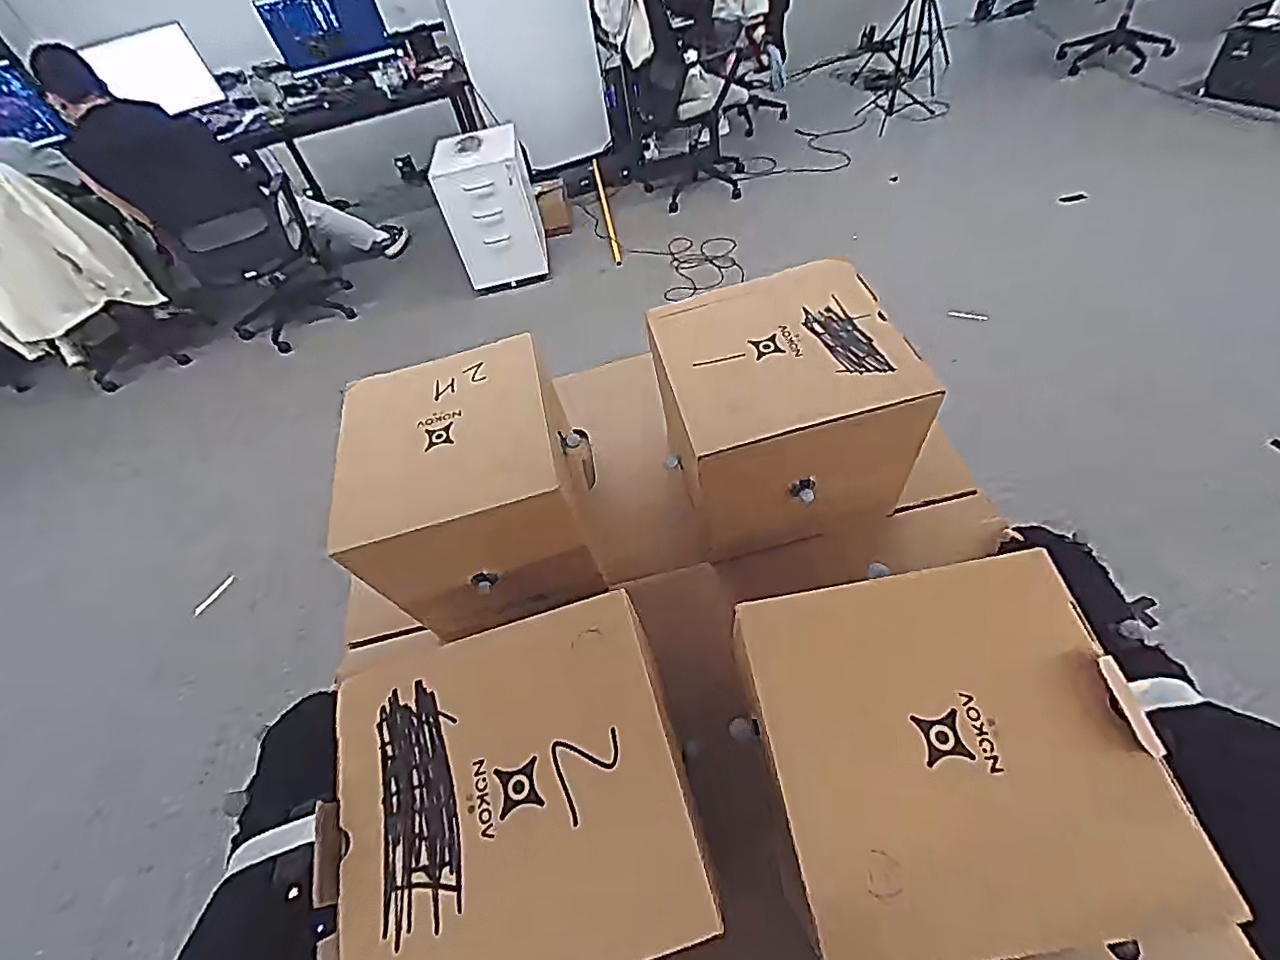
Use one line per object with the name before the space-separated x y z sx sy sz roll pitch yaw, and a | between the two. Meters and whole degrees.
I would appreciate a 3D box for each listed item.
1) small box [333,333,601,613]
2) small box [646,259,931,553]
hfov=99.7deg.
small box | -0.140 0.004 0.488 0.168 0.176 0.179 -15 54 0
small box | 0.115 -0.057 0.480 0.179 0.176 0.168 -15 55 2
